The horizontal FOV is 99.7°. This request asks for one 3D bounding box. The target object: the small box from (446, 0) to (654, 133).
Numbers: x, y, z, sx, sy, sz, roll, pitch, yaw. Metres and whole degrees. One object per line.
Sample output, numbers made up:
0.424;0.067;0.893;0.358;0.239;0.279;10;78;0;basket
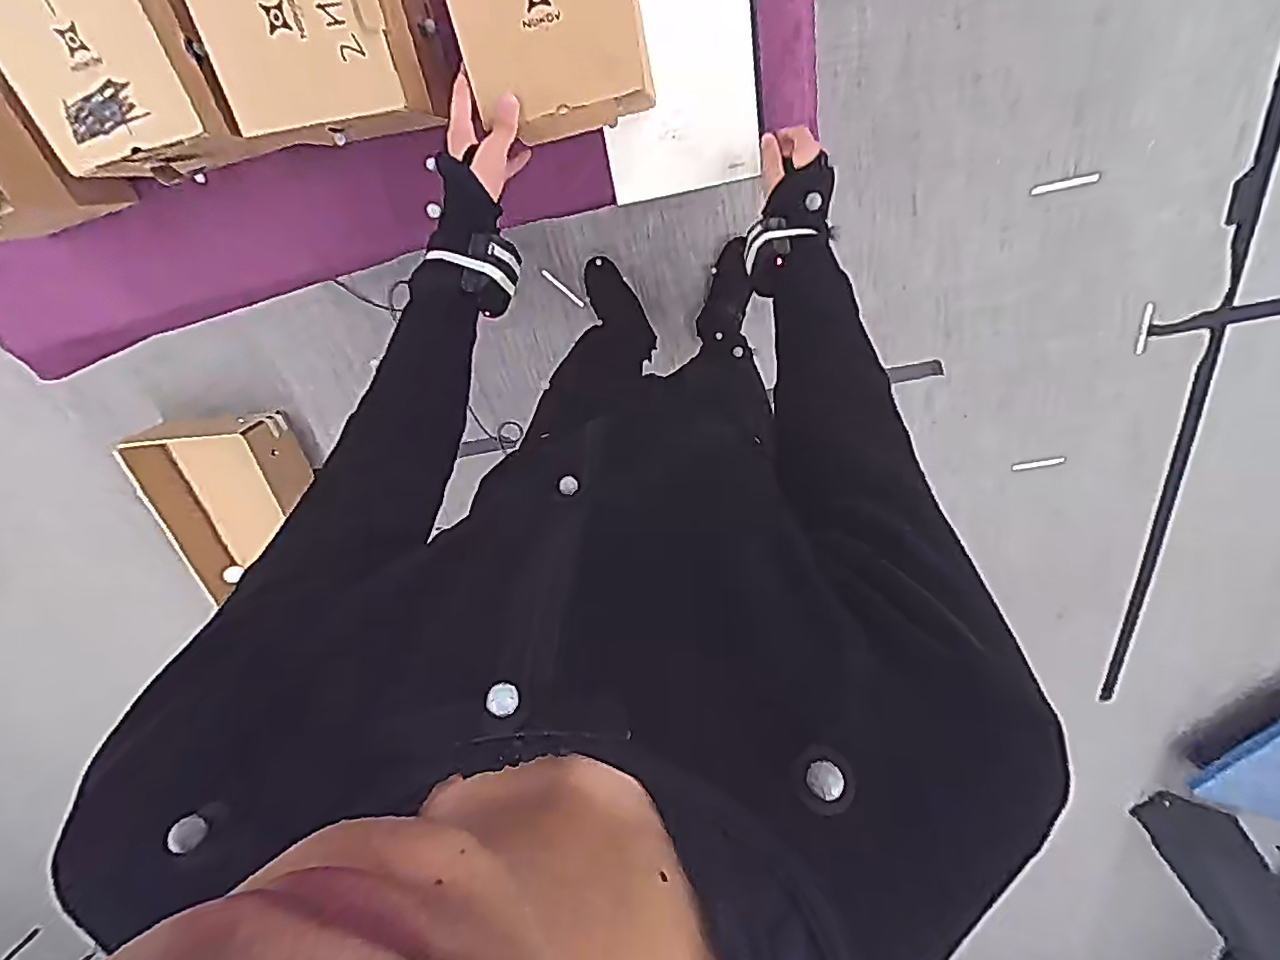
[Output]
-0.083;-0.465;0.541;0.168;0.176;0.179;-8;119;9;small box
